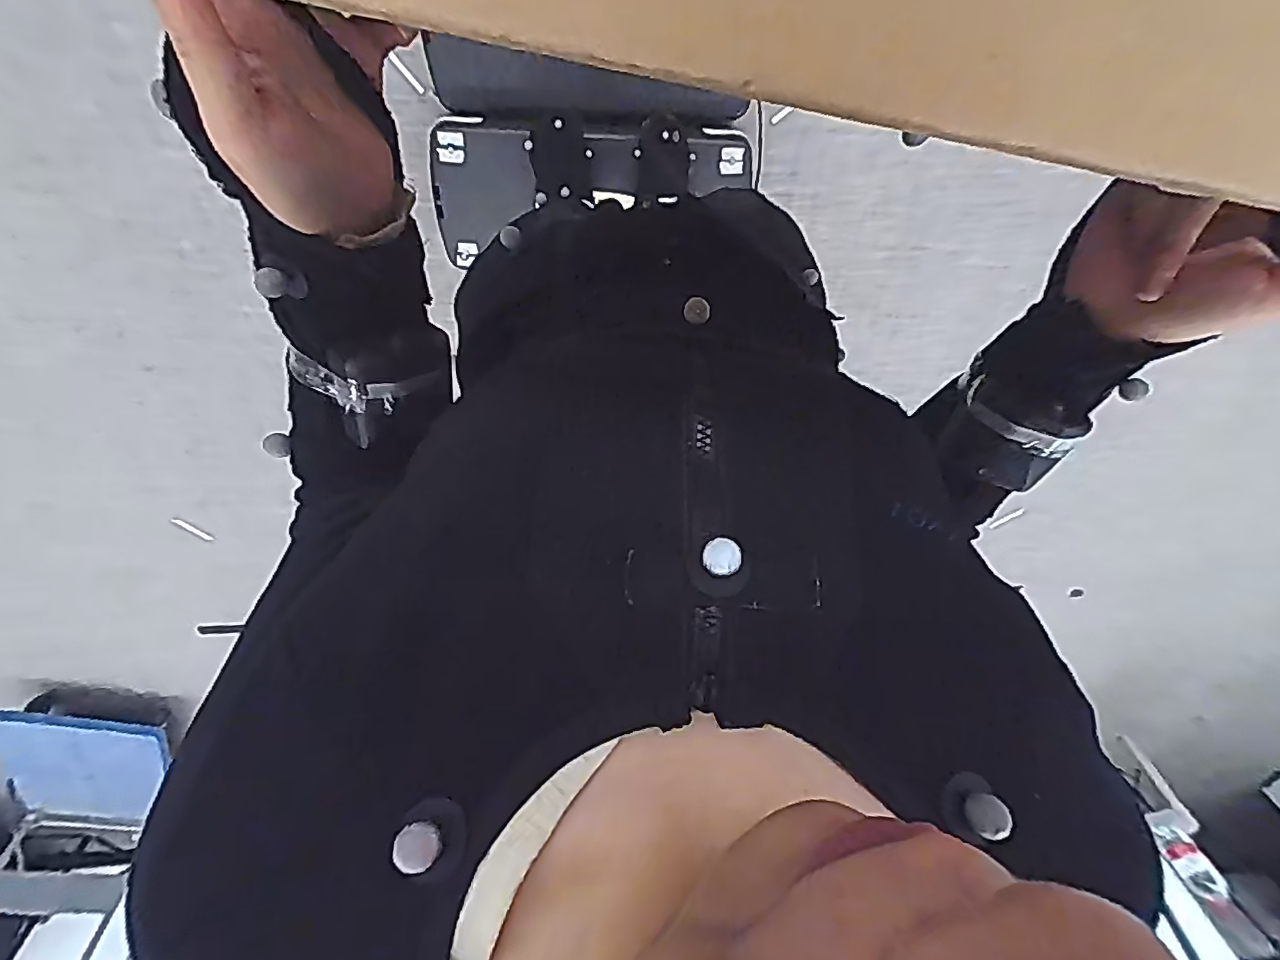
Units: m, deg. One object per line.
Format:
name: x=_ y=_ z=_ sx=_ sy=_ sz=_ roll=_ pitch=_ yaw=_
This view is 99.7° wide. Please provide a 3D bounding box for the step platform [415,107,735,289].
step platform: x=-0.136 y=-0.621 z=1.213 sx=0.684 sy=0.204 sz=0.286 roll=4 pitch=126 yaw=-7
